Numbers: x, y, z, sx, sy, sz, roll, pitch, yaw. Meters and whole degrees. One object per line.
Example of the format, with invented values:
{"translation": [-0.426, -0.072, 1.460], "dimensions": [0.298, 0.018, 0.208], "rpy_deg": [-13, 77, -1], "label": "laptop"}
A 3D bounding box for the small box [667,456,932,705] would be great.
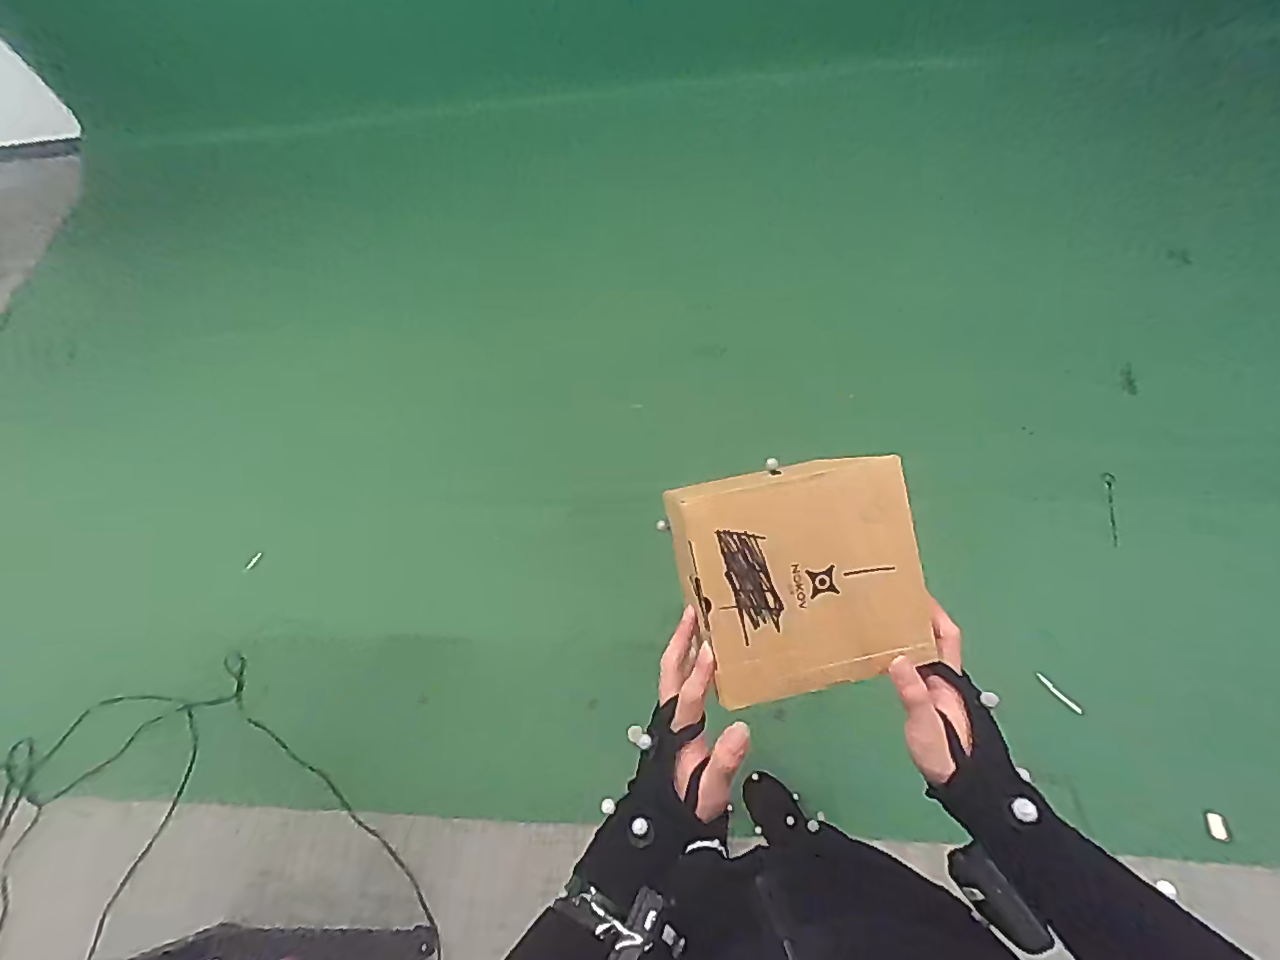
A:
{"translation": [0.124, 0.078, 0.495], "dimensions": [0.179, 0.176, 0.168], "rpy_deg": [-12, 91, -3], "label": "small box"}
